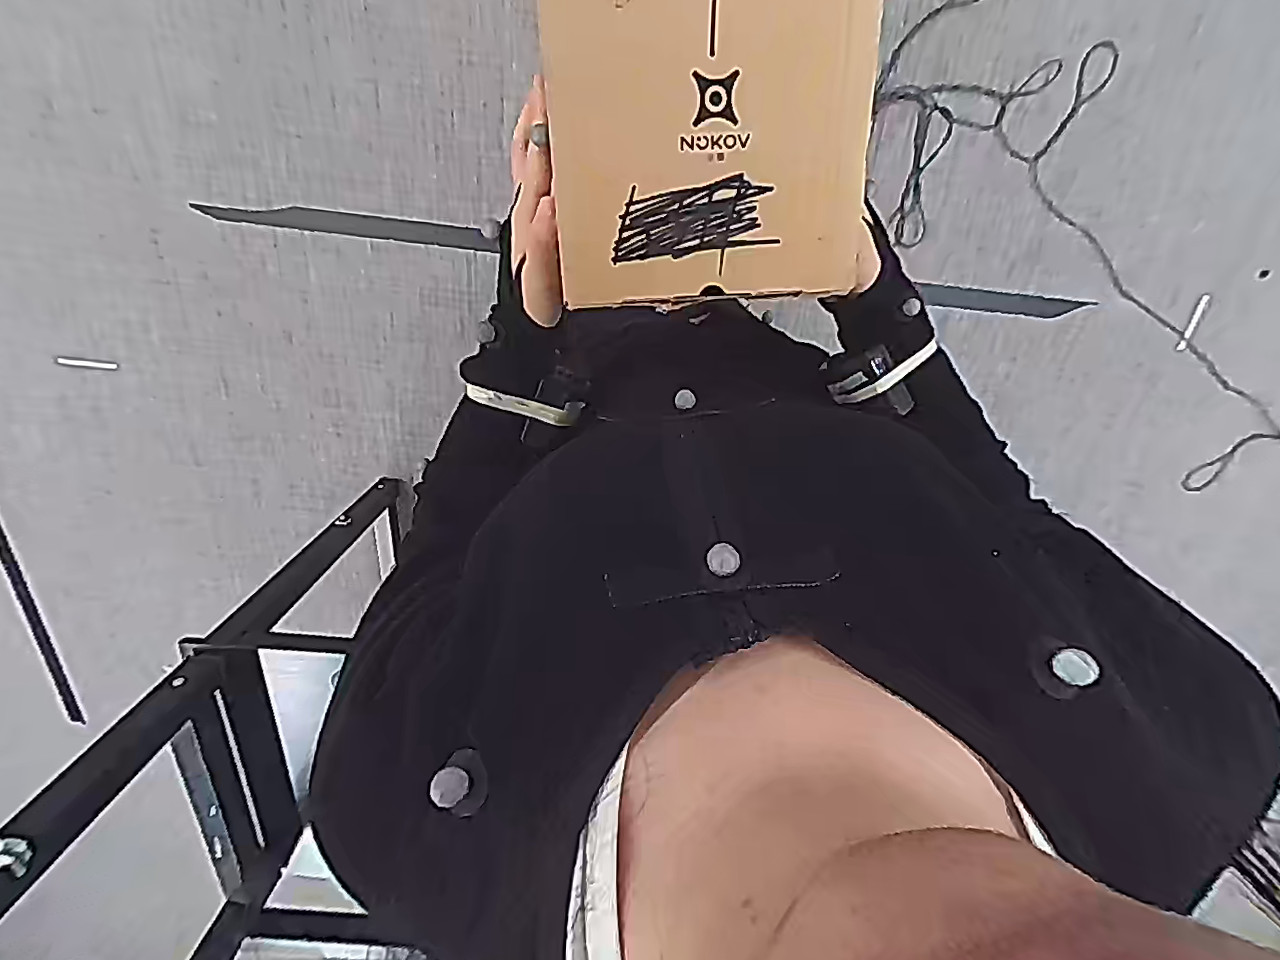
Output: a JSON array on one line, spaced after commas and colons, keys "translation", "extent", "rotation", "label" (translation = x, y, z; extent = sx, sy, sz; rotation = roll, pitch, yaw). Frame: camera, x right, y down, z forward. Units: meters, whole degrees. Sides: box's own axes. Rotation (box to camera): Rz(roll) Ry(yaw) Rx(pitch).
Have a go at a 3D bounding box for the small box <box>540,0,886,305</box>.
[{"translation": [0.031, -0.213, 0.344], "extent": [0.168, 0.176, 0.179], "rotation": [-4, 112, -4], "label": "small box"}]
